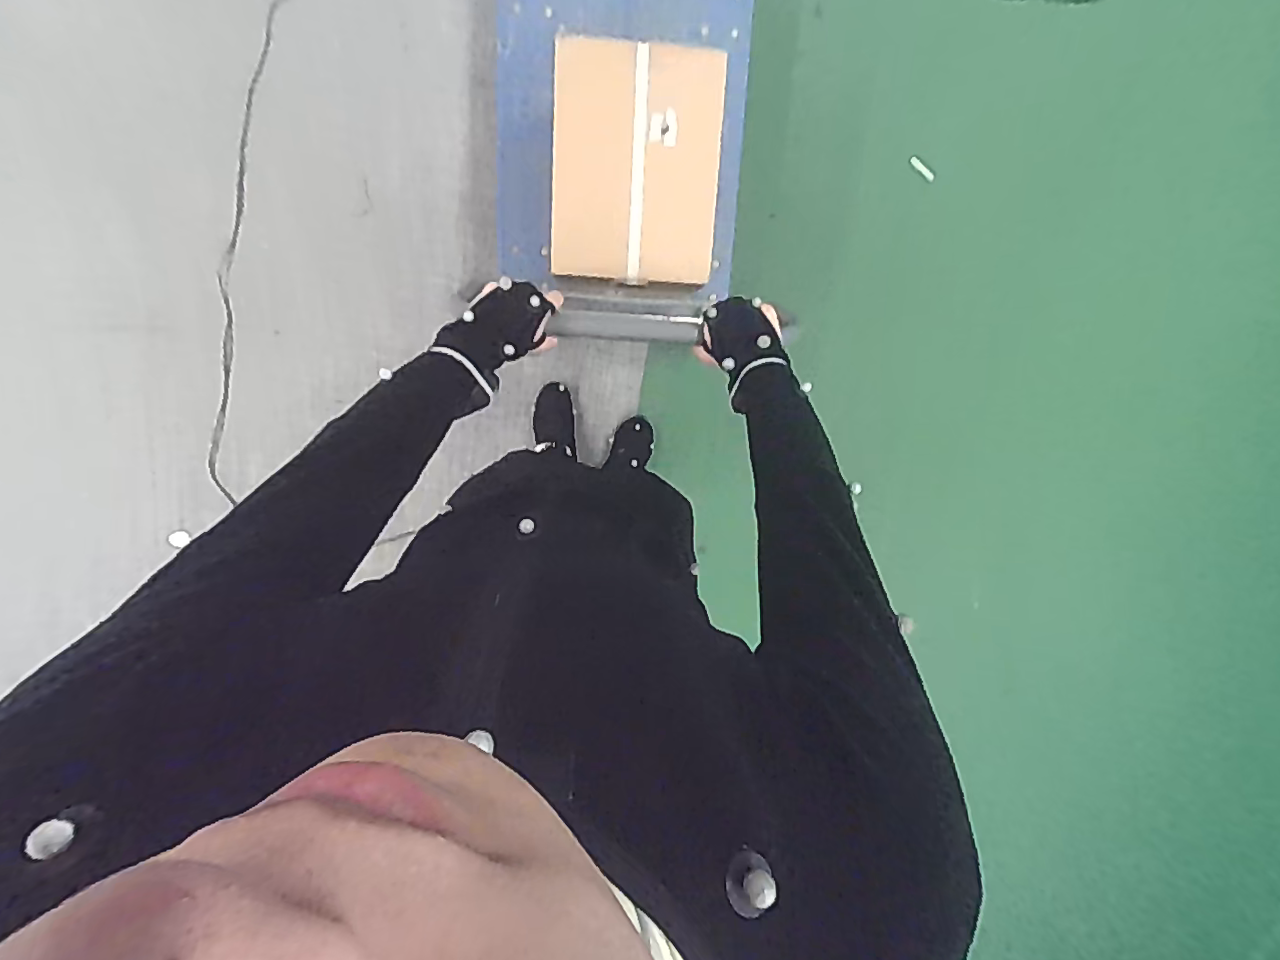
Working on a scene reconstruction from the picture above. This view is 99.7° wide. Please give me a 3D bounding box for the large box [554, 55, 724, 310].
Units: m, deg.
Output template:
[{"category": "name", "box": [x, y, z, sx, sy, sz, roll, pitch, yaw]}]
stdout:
[{"category": "large box", "box": [-0.014, -0.597, 1.170, 0.320, 0.320, 0.408, 2, 101, -6]}]
